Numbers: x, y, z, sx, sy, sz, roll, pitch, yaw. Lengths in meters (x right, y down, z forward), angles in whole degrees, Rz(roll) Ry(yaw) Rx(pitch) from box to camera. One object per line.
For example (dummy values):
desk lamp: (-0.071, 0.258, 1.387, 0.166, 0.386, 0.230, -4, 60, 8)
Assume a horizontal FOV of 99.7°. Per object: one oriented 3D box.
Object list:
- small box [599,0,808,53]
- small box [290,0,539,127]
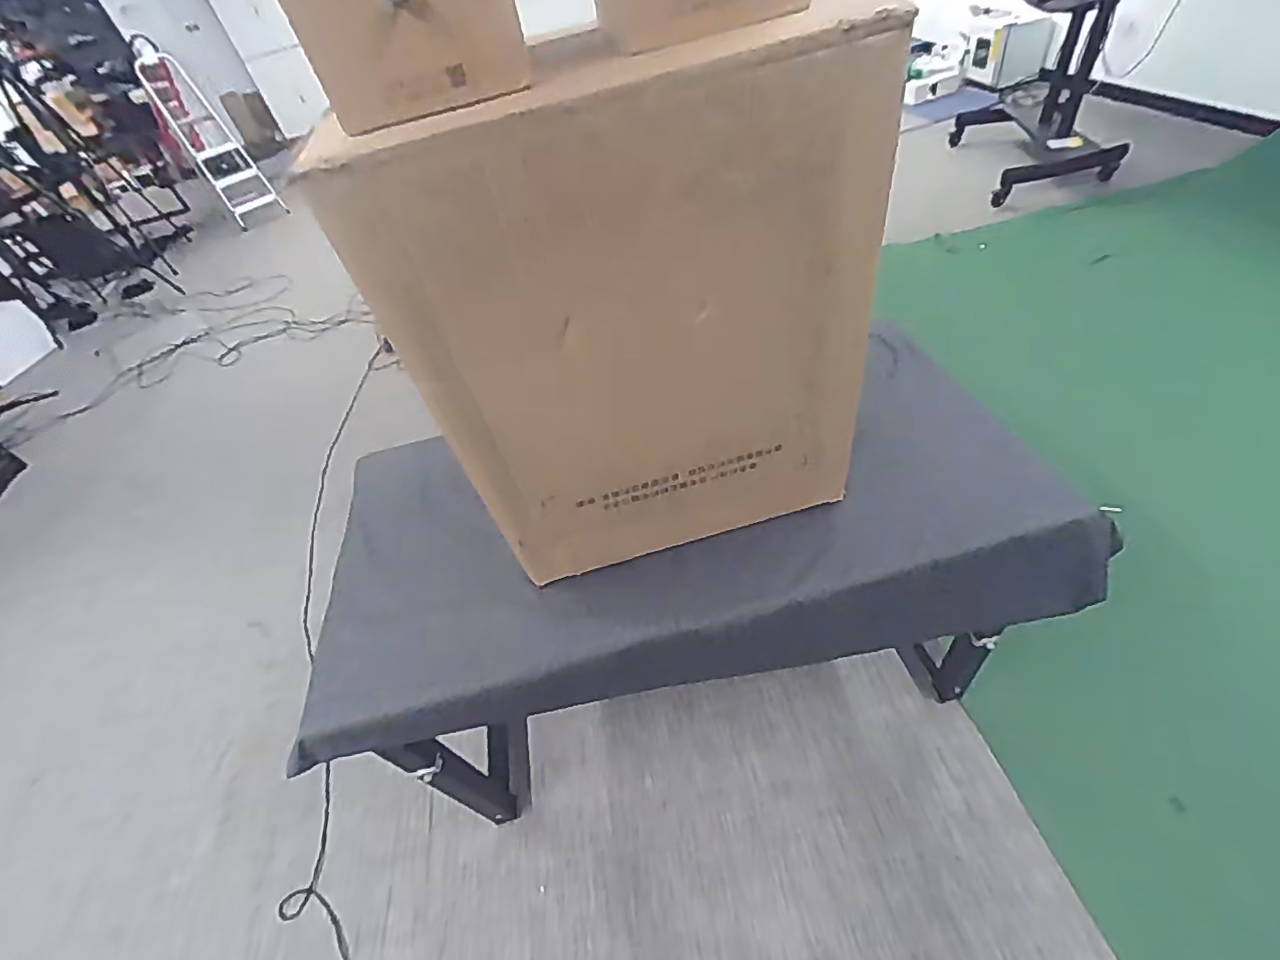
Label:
small box: (0.044, -0.494, 0.467, 0.168, 0.176, 0.179, -14, 47, -3)
small box: (-0.189, -0.419, 0.448, 0.168, 0.176, 0.179, -15, 49, -1)
